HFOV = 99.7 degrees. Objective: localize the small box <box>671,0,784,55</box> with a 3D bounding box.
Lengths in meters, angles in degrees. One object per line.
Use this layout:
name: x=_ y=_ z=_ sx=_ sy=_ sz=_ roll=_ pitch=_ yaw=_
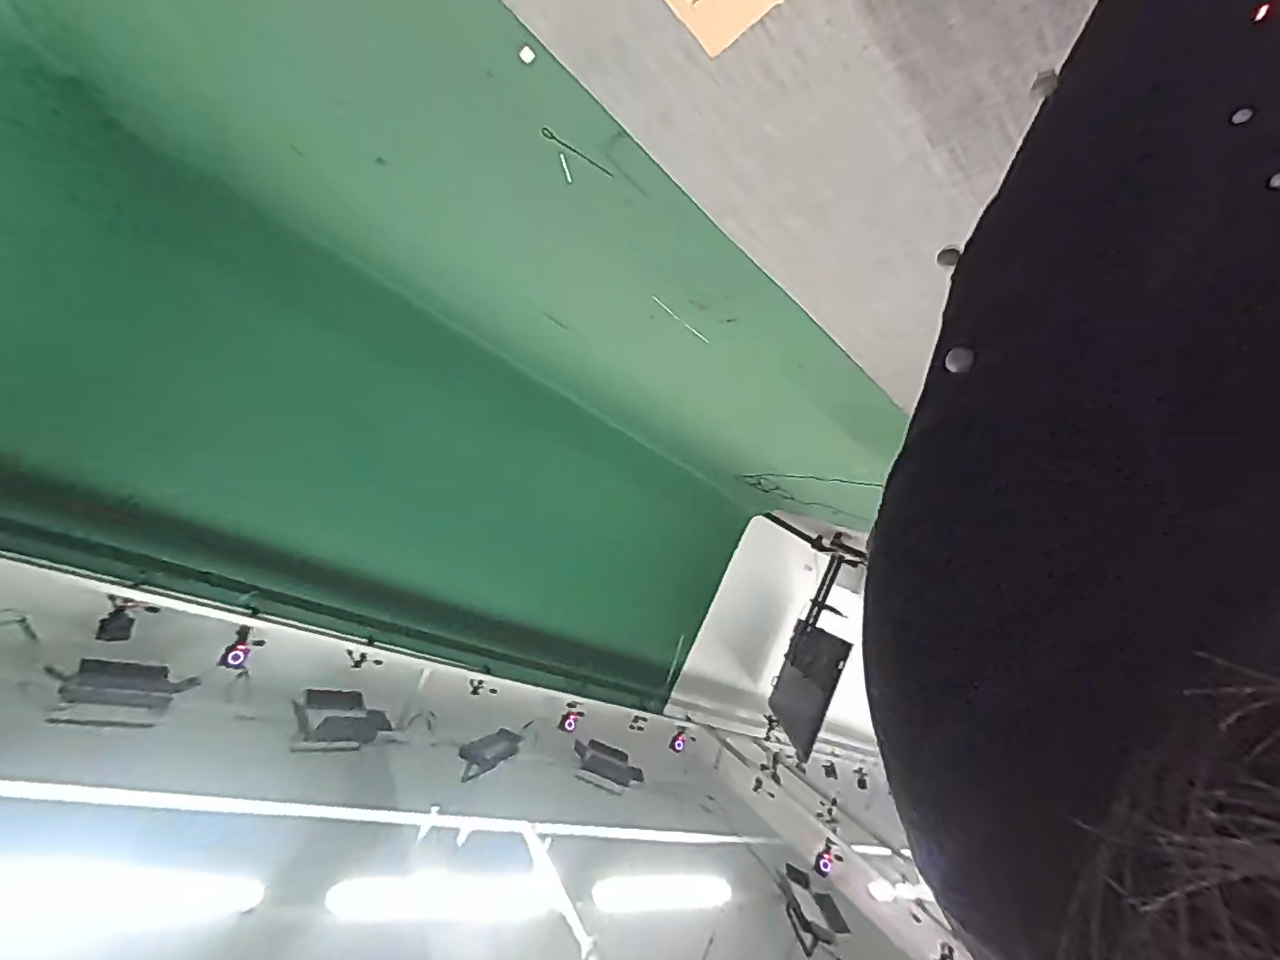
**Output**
small box: x=0.149 y=-0.816 z=0.814 sx=0.168 sy=0.176 sz=0.179 roll=30 pitch=173 yaw=-31
